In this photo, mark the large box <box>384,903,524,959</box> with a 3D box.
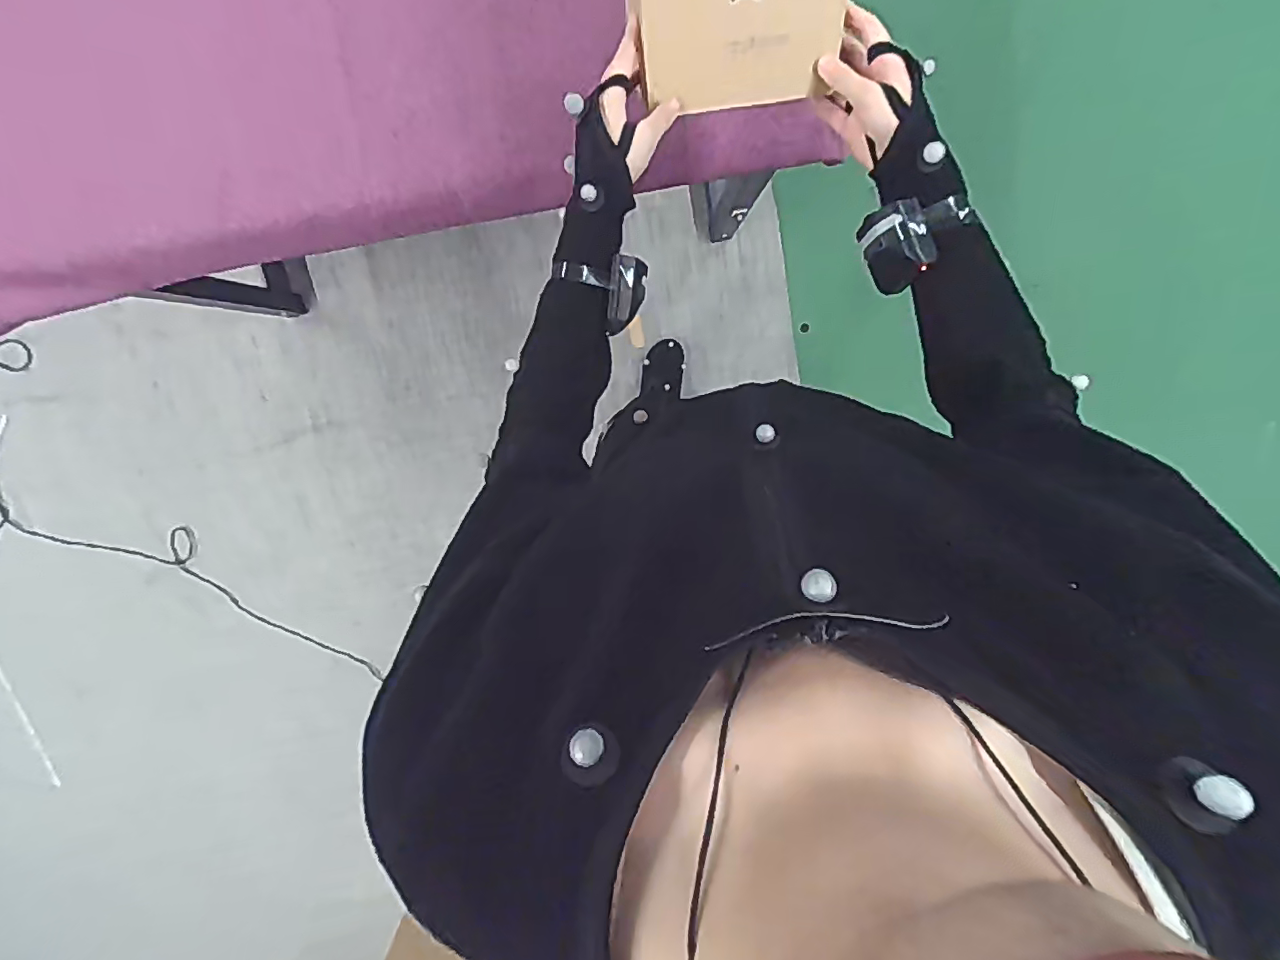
[{"bbox_3d":[-0.624,1.633,1.690,0.408,0.320,0.320,19,100,-2],"label":"large box"}]

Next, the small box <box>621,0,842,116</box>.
[{"bbox_3d":[0.068,-0.441,0.461,0.168,0.176,0.179,-8,137,0],"label":"small box"}]
